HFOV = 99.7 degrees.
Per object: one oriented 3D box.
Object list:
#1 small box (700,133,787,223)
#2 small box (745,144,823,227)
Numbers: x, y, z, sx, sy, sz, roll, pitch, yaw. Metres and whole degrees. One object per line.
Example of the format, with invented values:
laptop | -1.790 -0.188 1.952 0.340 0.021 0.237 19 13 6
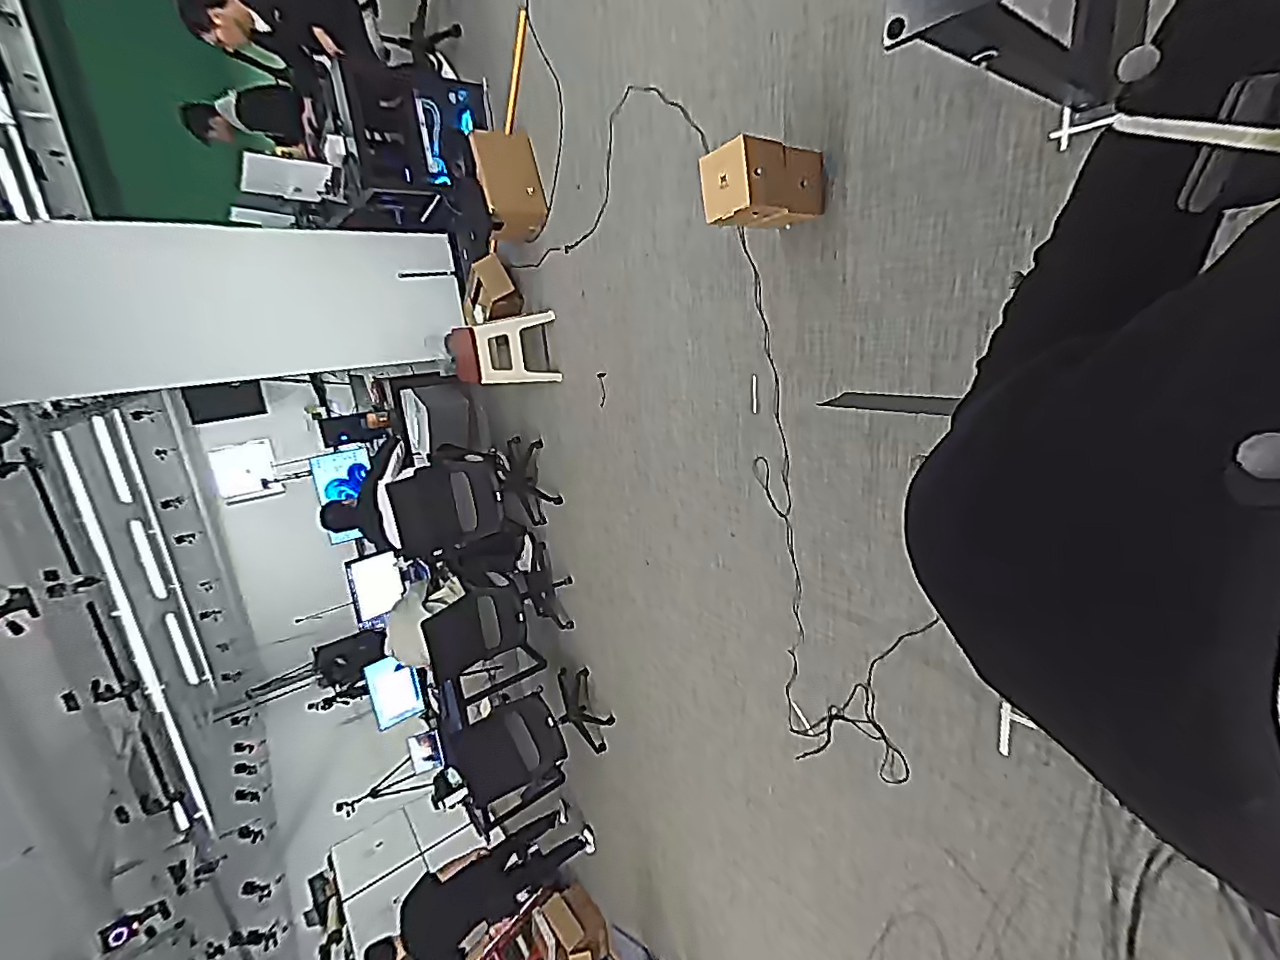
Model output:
small box | 0.292 -0.829 1.504 0.168 0.176 0.179 5 107 52
small box | 0.422 -0.861 1.597 0.168 0.176 0.179 11 113 52
